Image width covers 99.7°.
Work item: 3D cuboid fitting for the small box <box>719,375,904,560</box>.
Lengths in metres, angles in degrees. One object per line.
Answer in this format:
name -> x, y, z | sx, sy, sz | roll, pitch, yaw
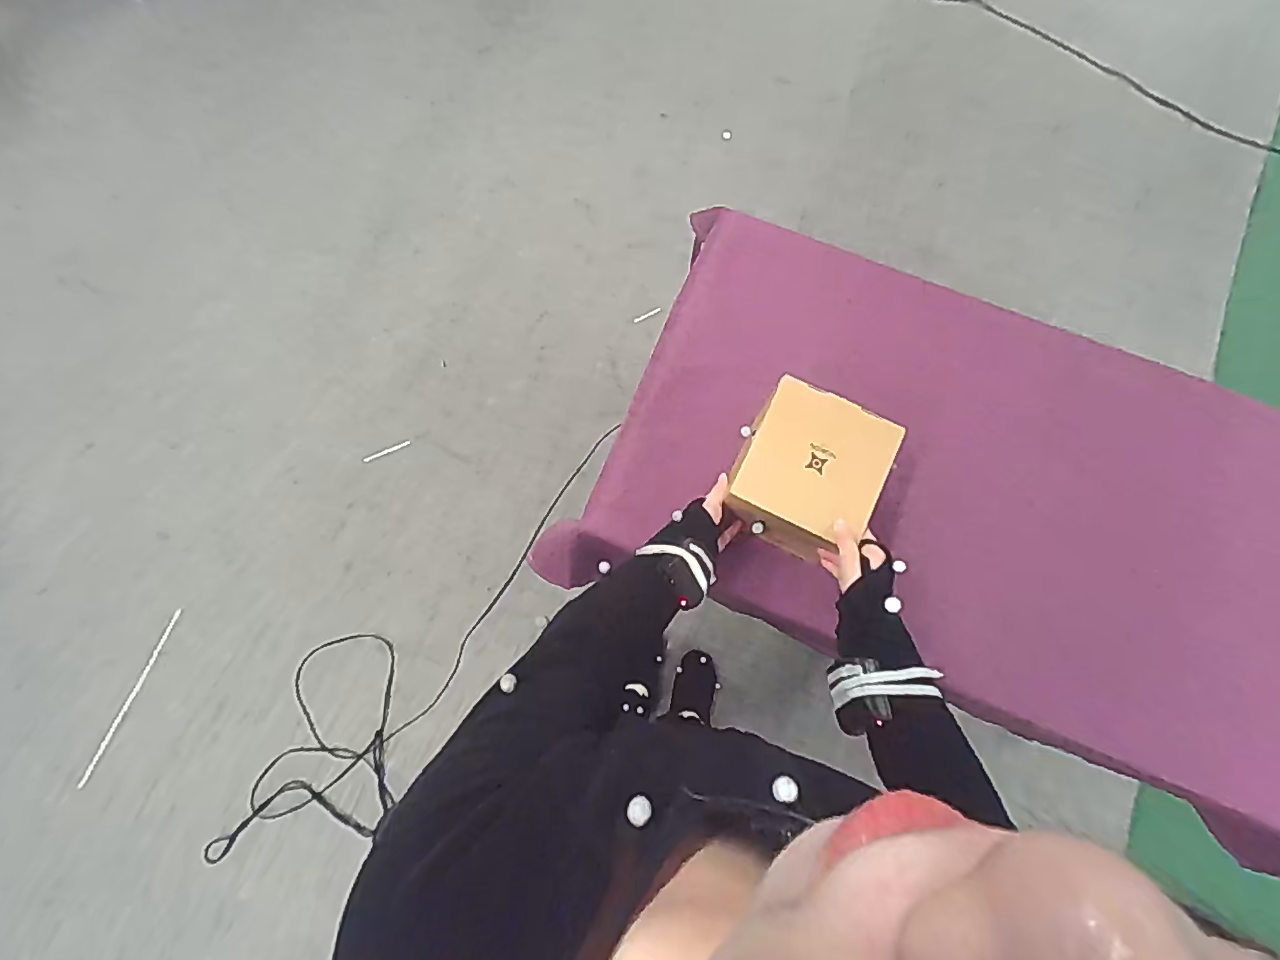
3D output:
small box -> 0.217, -0.005, 0.734 | 0.168, 0.176, 0.179 | 26, 77, 7
